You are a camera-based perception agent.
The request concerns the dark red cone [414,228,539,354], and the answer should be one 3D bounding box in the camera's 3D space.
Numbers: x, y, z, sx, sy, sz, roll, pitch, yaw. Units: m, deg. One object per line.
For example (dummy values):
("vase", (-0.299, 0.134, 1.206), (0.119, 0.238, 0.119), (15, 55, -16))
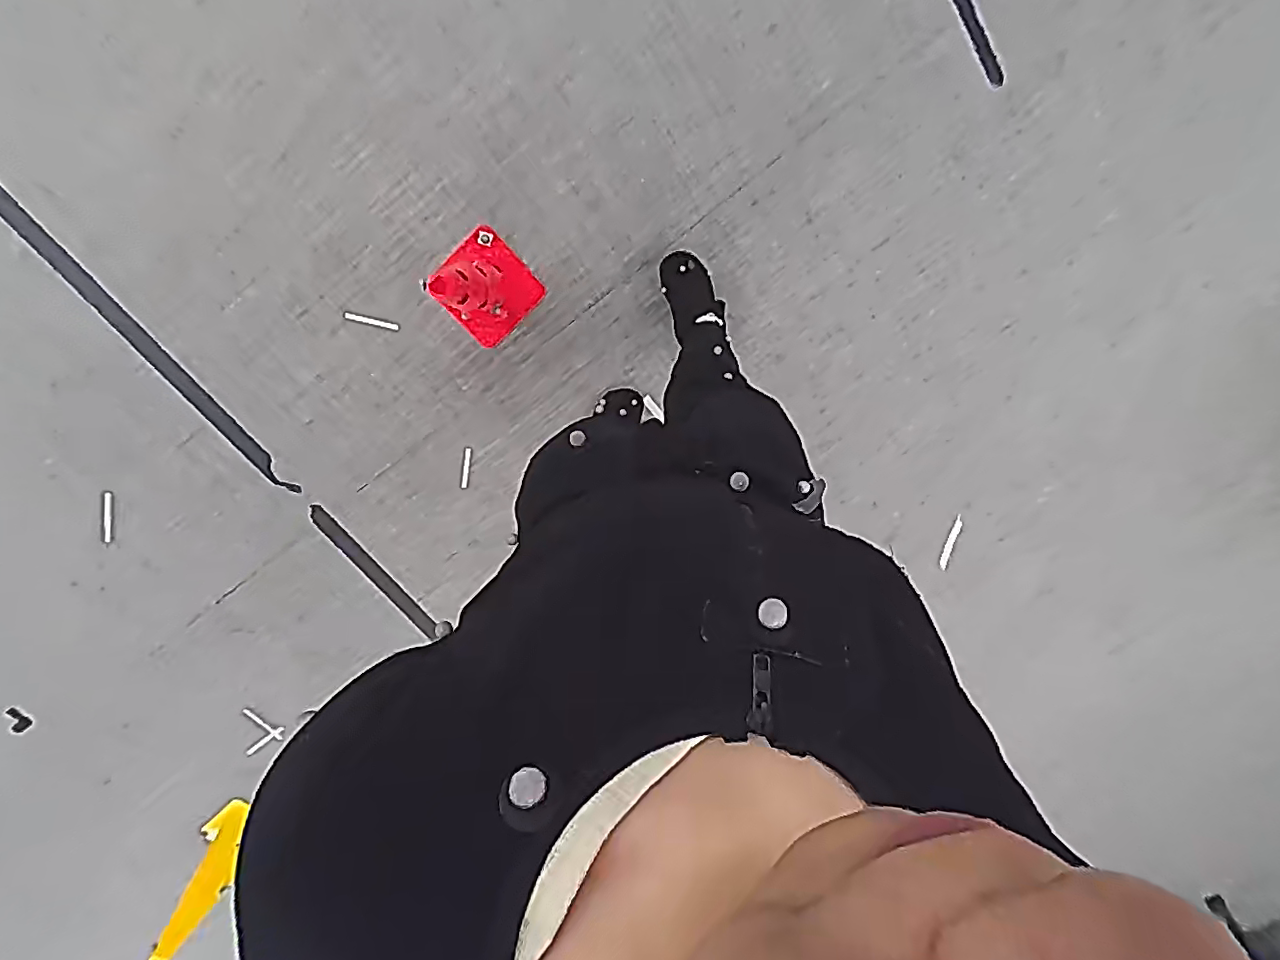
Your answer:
("dark red cone", (-0.342, -0.354, 1.024), (0.201, 0.394, 0.202), (-42, 105, 12))
